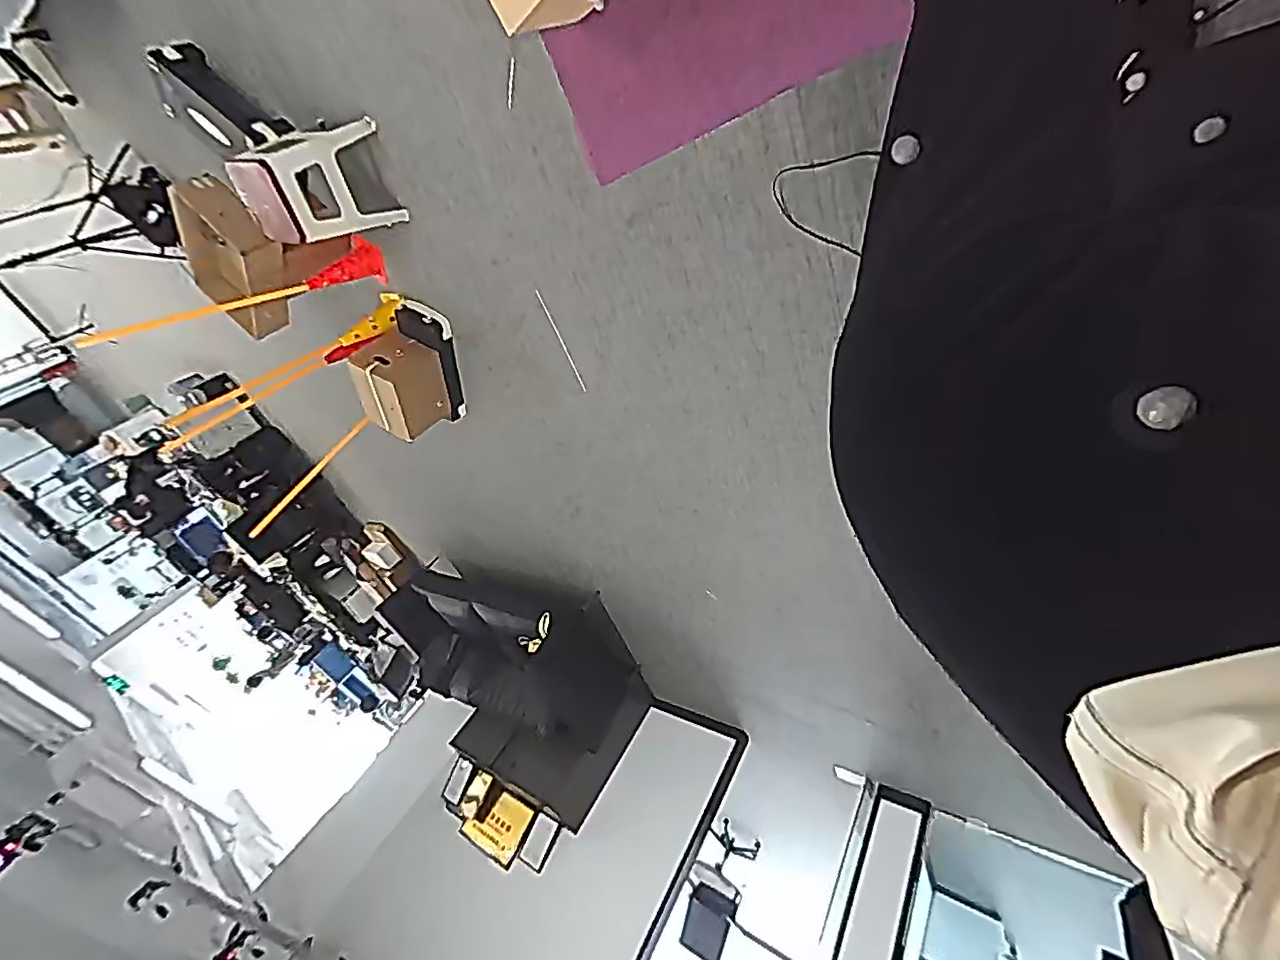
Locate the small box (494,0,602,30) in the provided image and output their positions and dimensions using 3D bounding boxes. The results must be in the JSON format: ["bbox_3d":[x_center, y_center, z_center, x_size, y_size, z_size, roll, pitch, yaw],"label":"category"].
[{"bbox_3d":[-0.107,-0.709,0.666,0.168,0.176,0.179,-2,127,44],"label":"small box"}]
